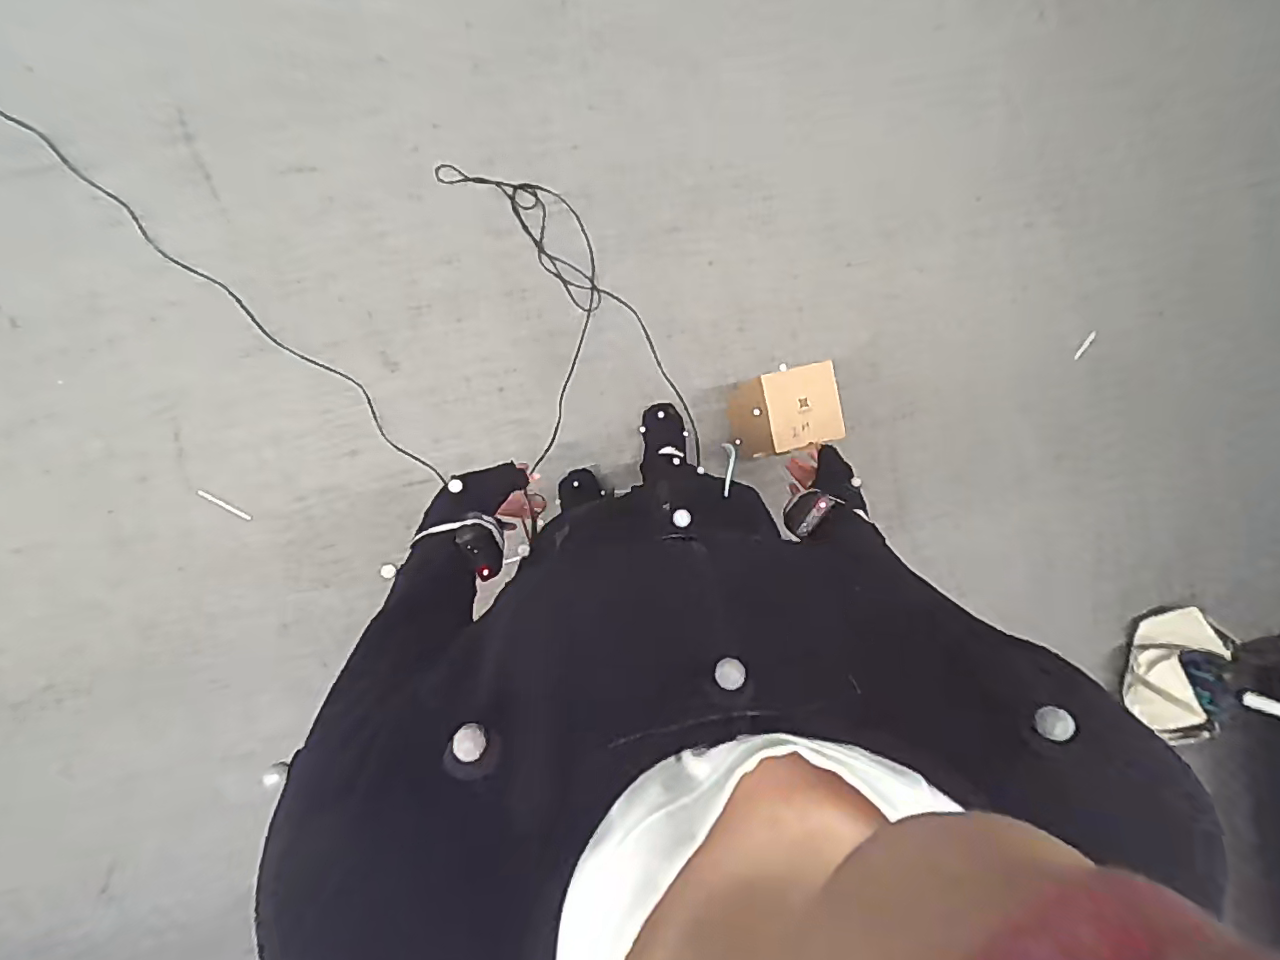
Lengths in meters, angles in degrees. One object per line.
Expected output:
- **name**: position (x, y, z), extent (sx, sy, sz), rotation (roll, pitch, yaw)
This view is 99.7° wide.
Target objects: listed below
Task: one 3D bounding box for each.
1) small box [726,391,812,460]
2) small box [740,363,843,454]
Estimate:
- **small box**: position (0.335, -0.154, 1.423), extent (0.168, 0.176, 0.179), rotation (-10, 95, -6)
- **small box**: position (0.344, -0.161, 1.258), extent (0.168, 0.176, 0.179), rotation (-13, 95, -5)
